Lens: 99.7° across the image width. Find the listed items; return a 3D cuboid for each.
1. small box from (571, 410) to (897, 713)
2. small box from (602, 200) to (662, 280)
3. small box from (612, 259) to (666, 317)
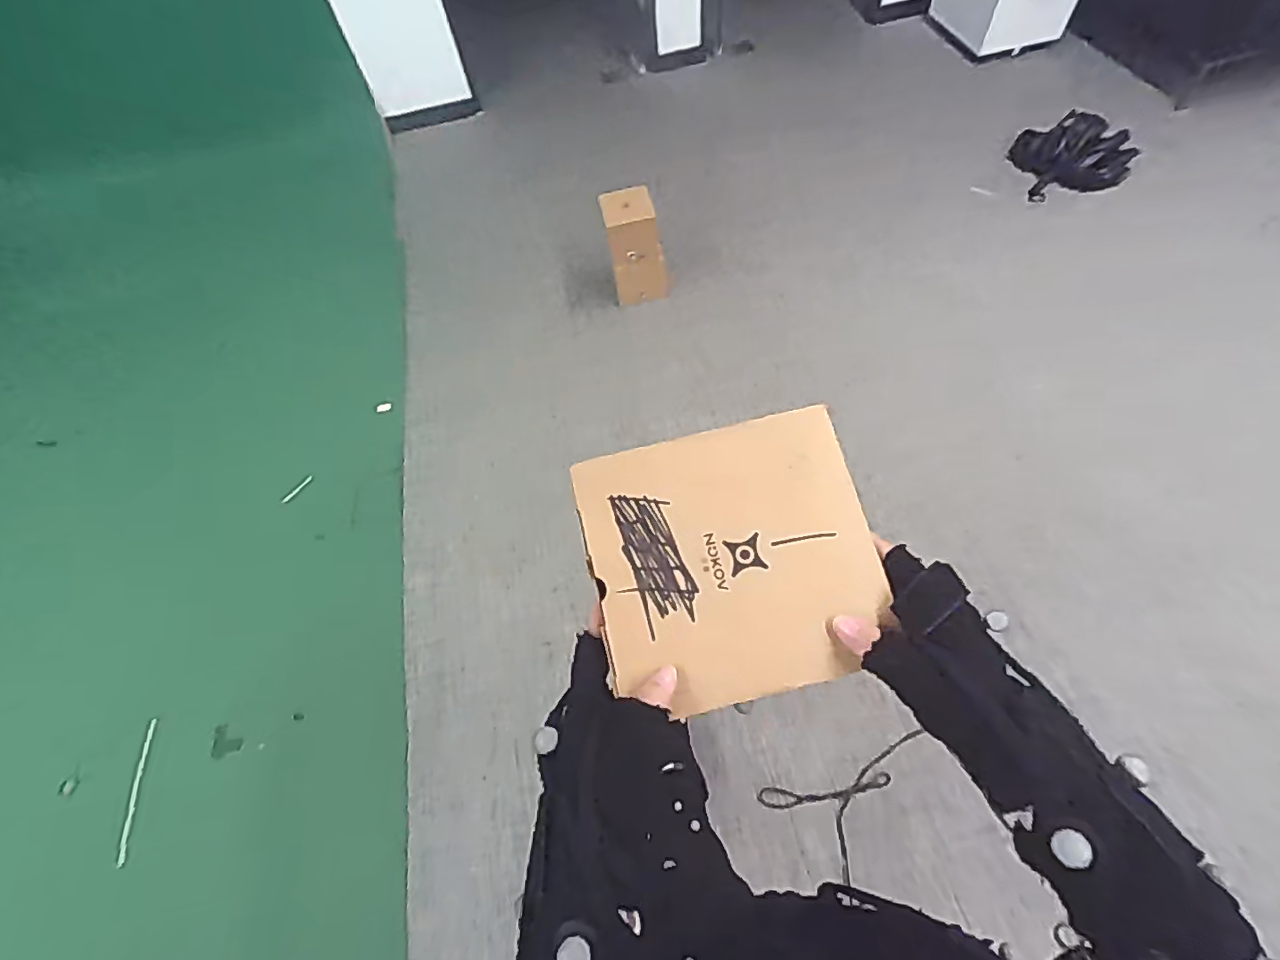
[{"bbox_3d":[0.057,0.068,0.421,0.179,0.176,0.168,-13,75,-2],"label":"small box"},{"bbox_3d":[-0.027,-0.813,1.839,0.168,0.176,0.179,-13,60,1],"label":"small box"},{"bbox_3d":[-0.002,-0.722,1.973,0.179,0.176,0.168,-11,58,-1],"label":"small box"}]
